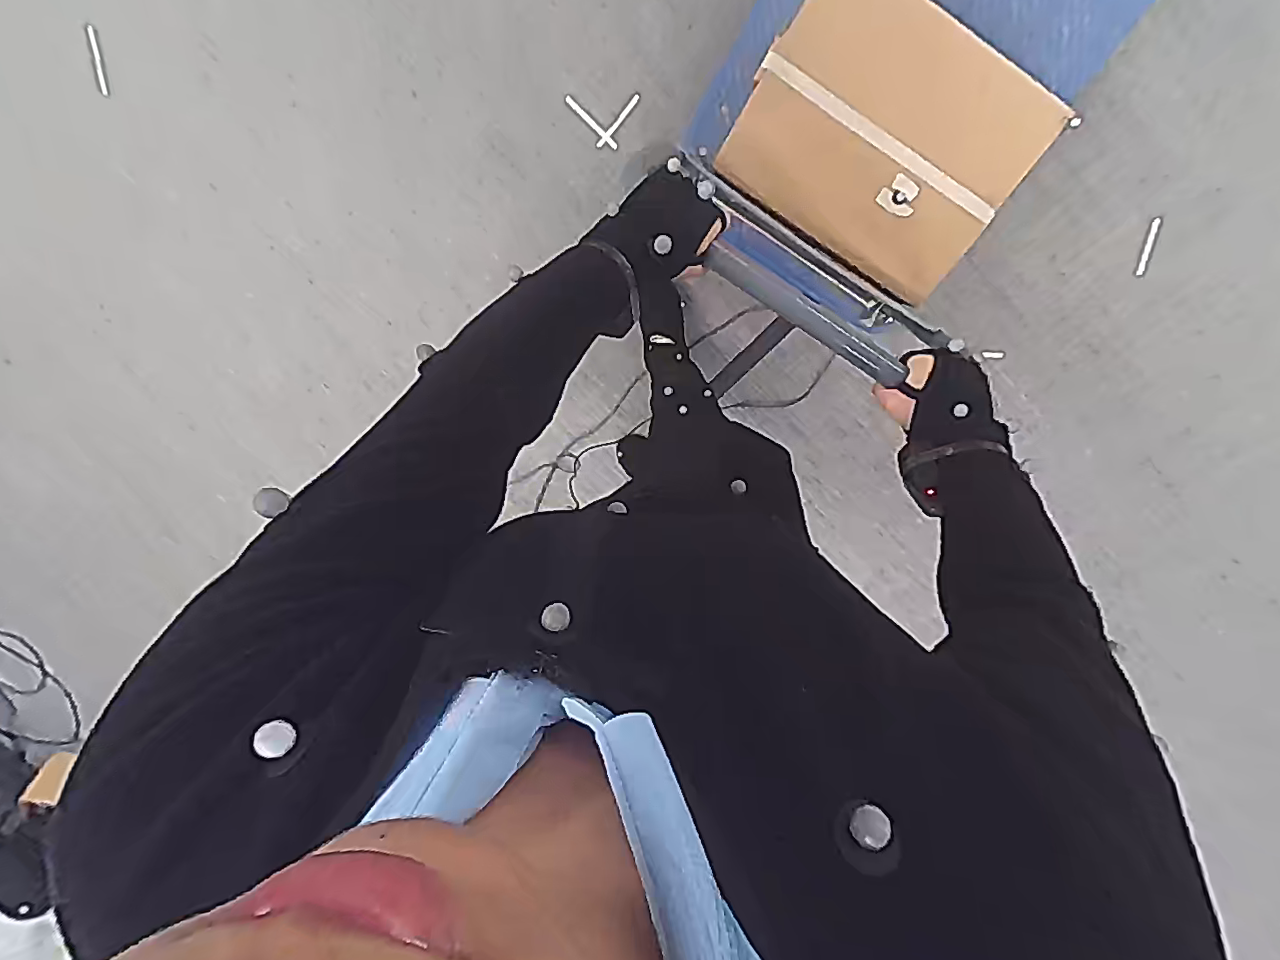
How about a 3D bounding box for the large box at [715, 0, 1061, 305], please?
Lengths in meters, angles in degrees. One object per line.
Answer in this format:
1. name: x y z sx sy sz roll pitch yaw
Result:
1. large box: 0.379 -0.562 0.950 0.408 0.320 0.320 31 115 -6
